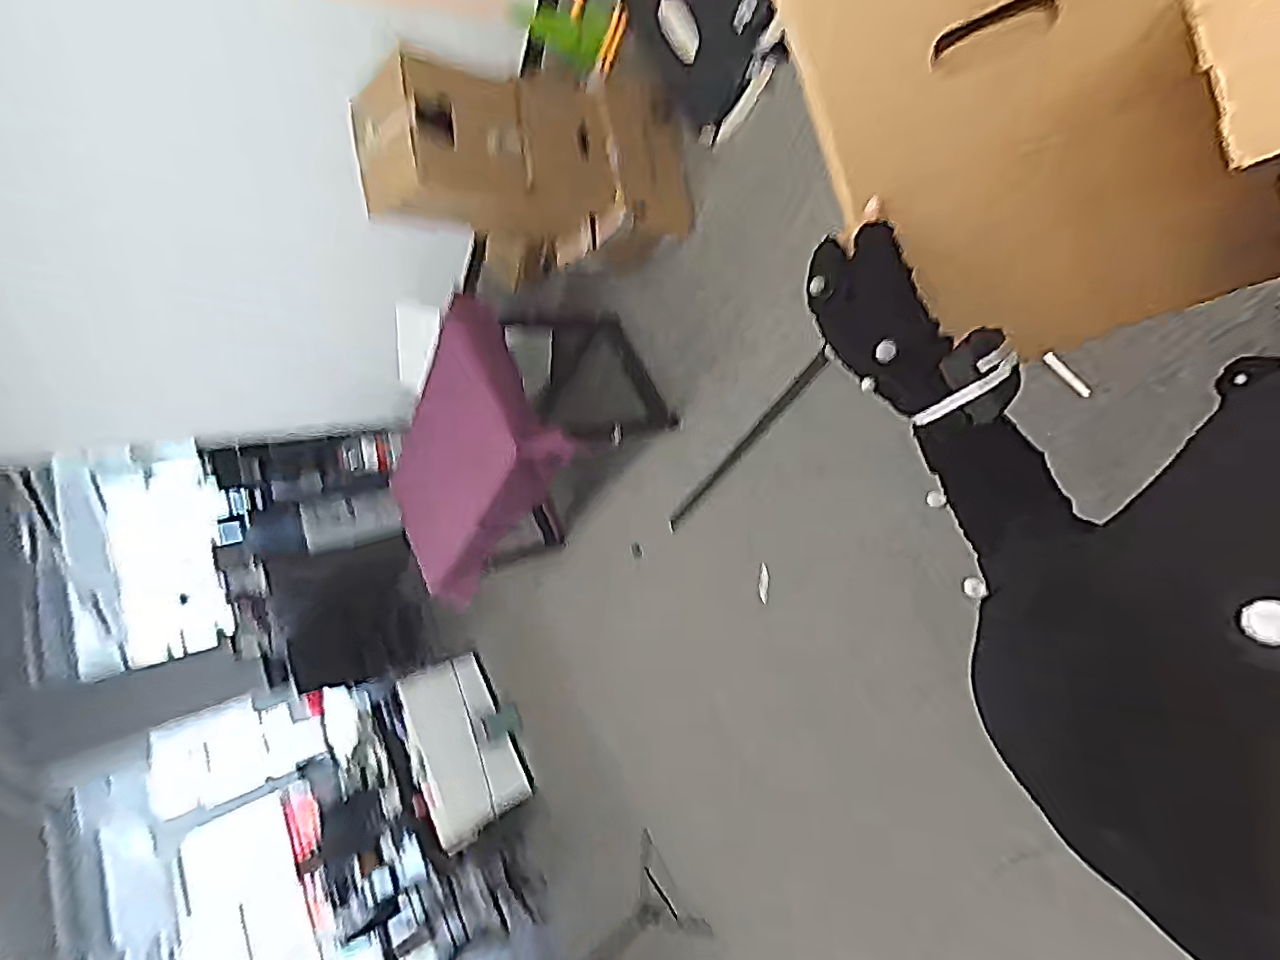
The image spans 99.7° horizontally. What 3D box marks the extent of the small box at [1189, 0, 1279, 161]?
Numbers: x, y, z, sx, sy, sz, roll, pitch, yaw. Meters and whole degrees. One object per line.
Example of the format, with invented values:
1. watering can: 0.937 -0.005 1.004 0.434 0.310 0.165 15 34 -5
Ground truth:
1. small box: 0.422 -0.295 0.275 0.179 0.176 0.168 -11 99 59
